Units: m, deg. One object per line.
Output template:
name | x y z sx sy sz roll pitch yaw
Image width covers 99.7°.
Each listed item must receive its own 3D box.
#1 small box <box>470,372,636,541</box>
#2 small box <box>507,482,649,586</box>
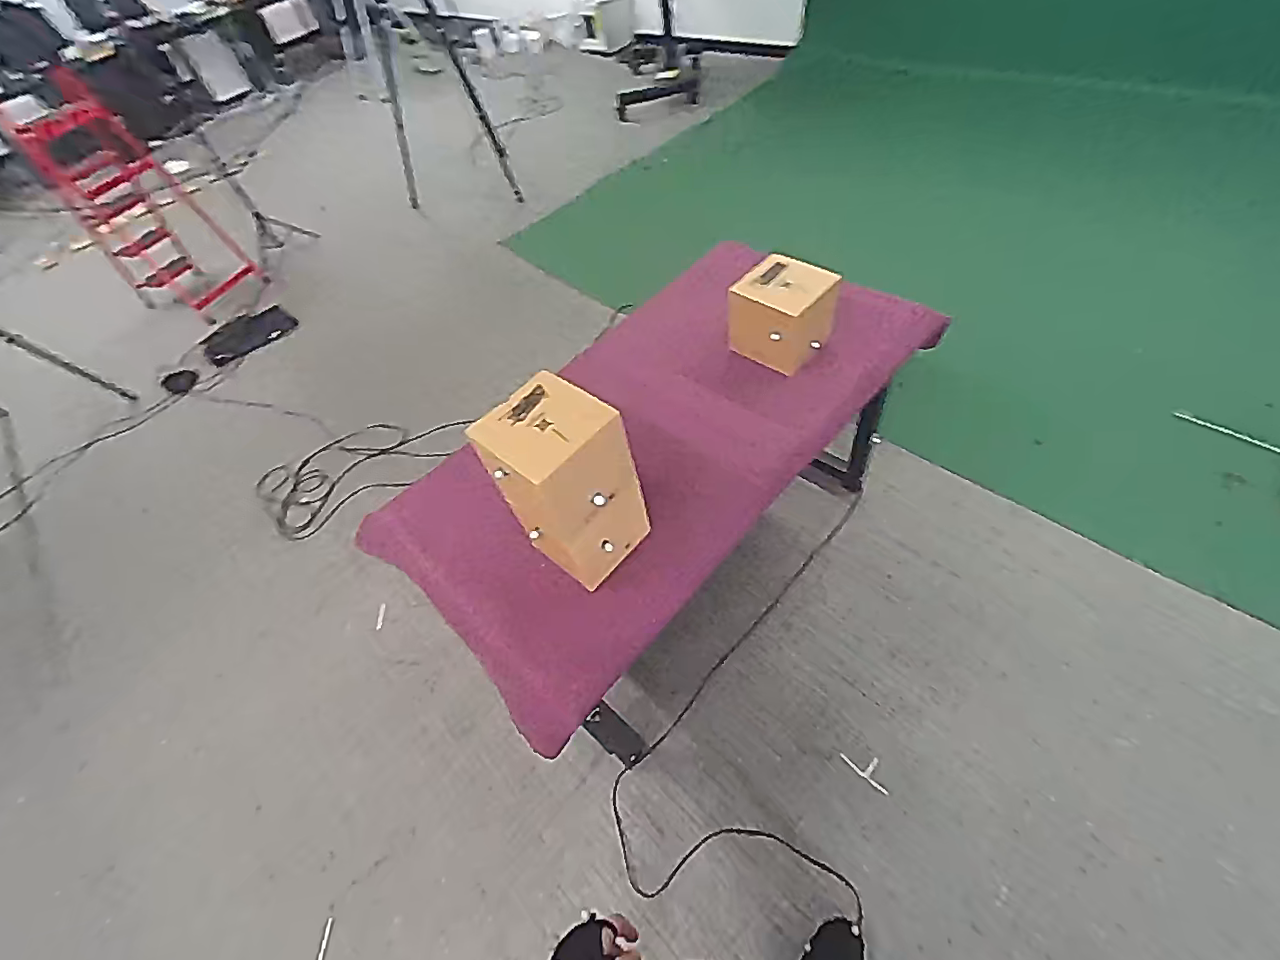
small box | -0.129 -0.034 0.857 0.179 0.176 0.168 33 65 30
small box | -0.103 0.068 0.983 0.179 0.176 0.168 32 64 31
